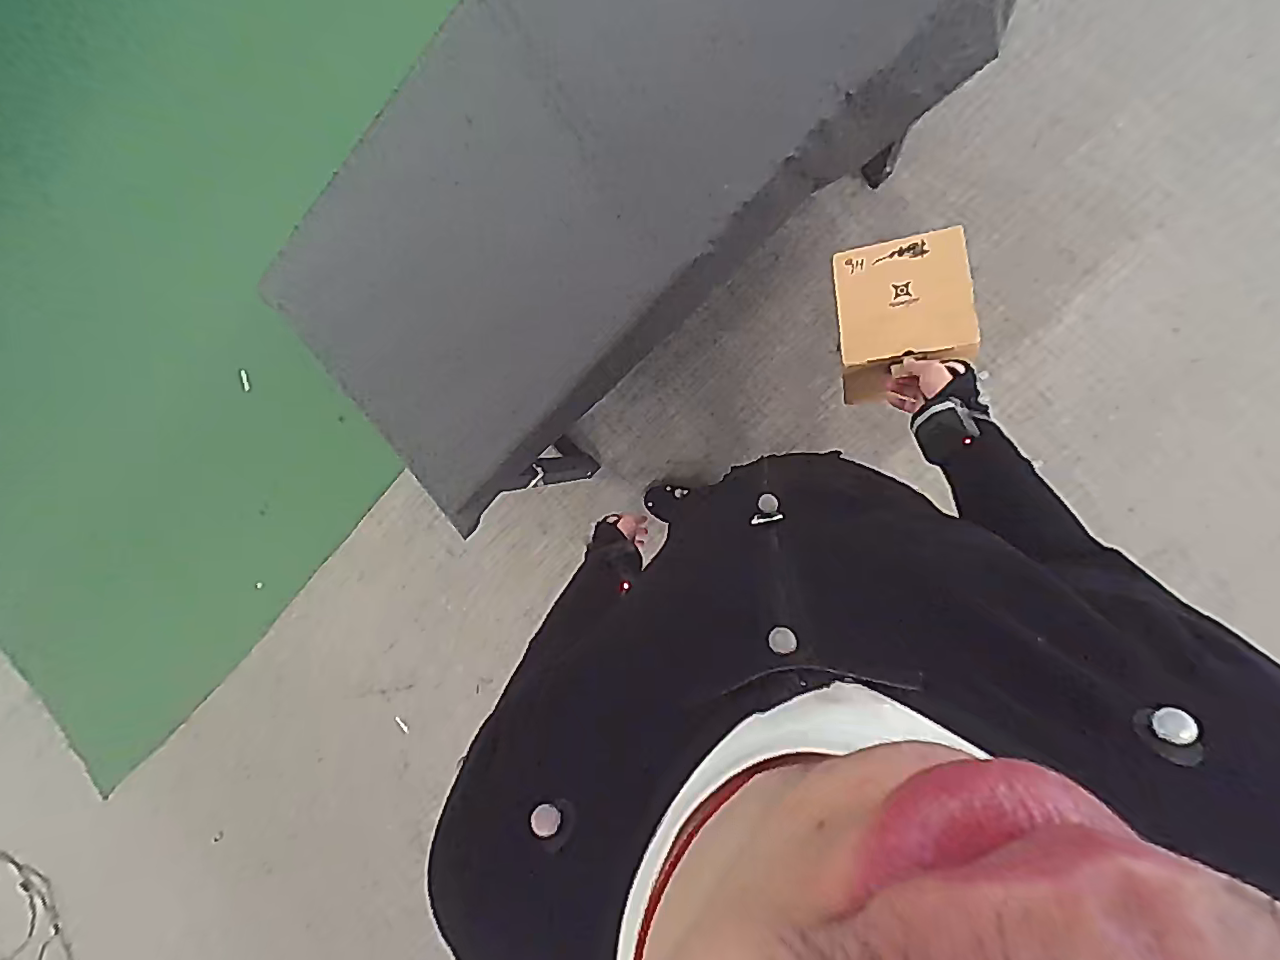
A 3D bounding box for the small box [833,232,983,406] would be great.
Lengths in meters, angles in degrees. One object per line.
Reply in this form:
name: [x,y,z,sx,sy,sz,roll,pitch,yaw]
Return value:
small box: [0.392,-0.222,0.805,0.168,0.176,0.179,-9,71,23]
